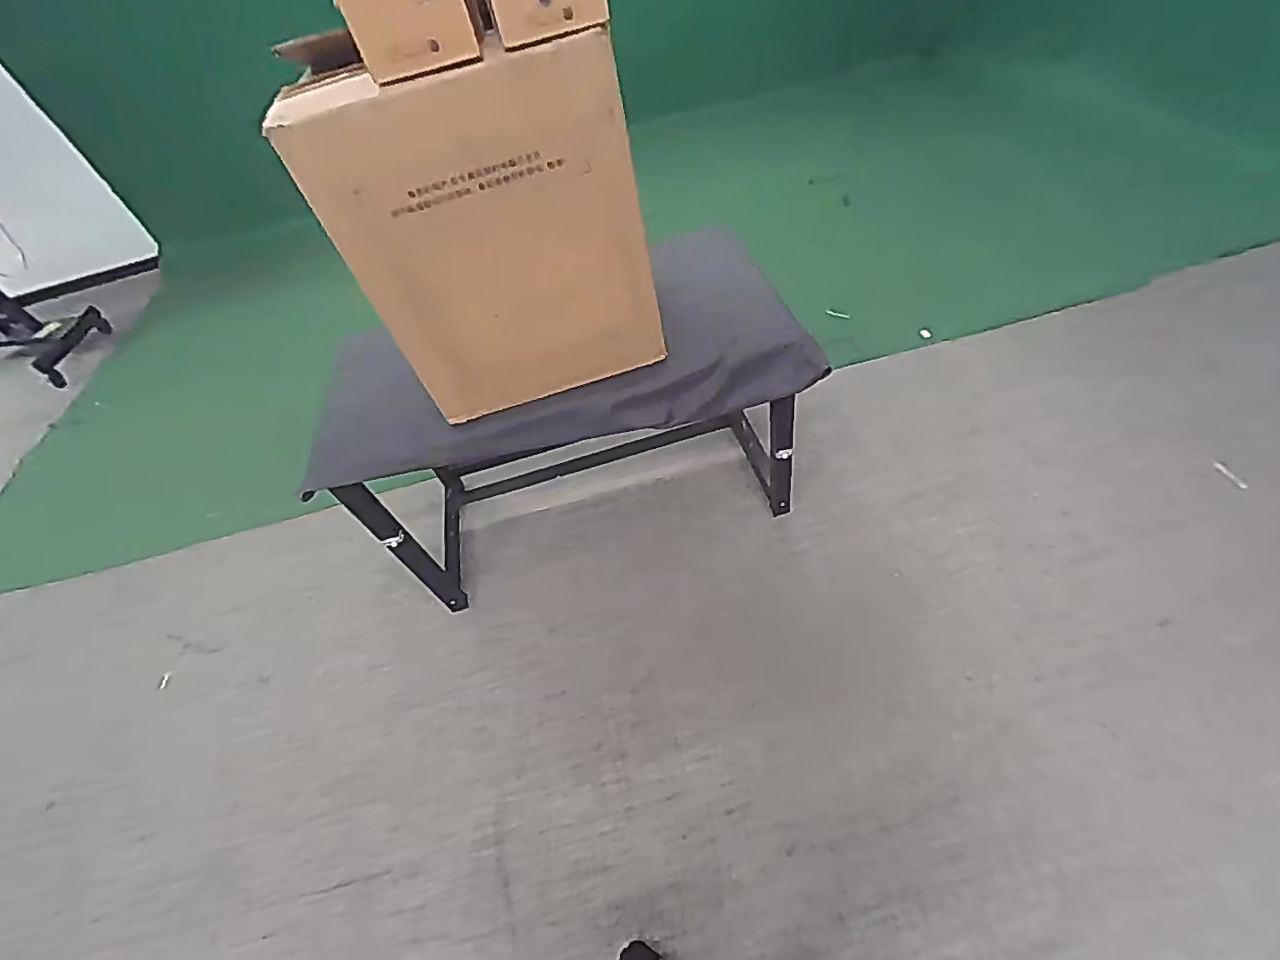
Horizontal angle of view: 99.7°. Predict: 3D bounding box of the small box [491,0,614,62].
[{"bbox_3d":[-0.146,-0.755,0.806,0.168,0.176,0.179,-17,50,-2],"label":"small box"}]
